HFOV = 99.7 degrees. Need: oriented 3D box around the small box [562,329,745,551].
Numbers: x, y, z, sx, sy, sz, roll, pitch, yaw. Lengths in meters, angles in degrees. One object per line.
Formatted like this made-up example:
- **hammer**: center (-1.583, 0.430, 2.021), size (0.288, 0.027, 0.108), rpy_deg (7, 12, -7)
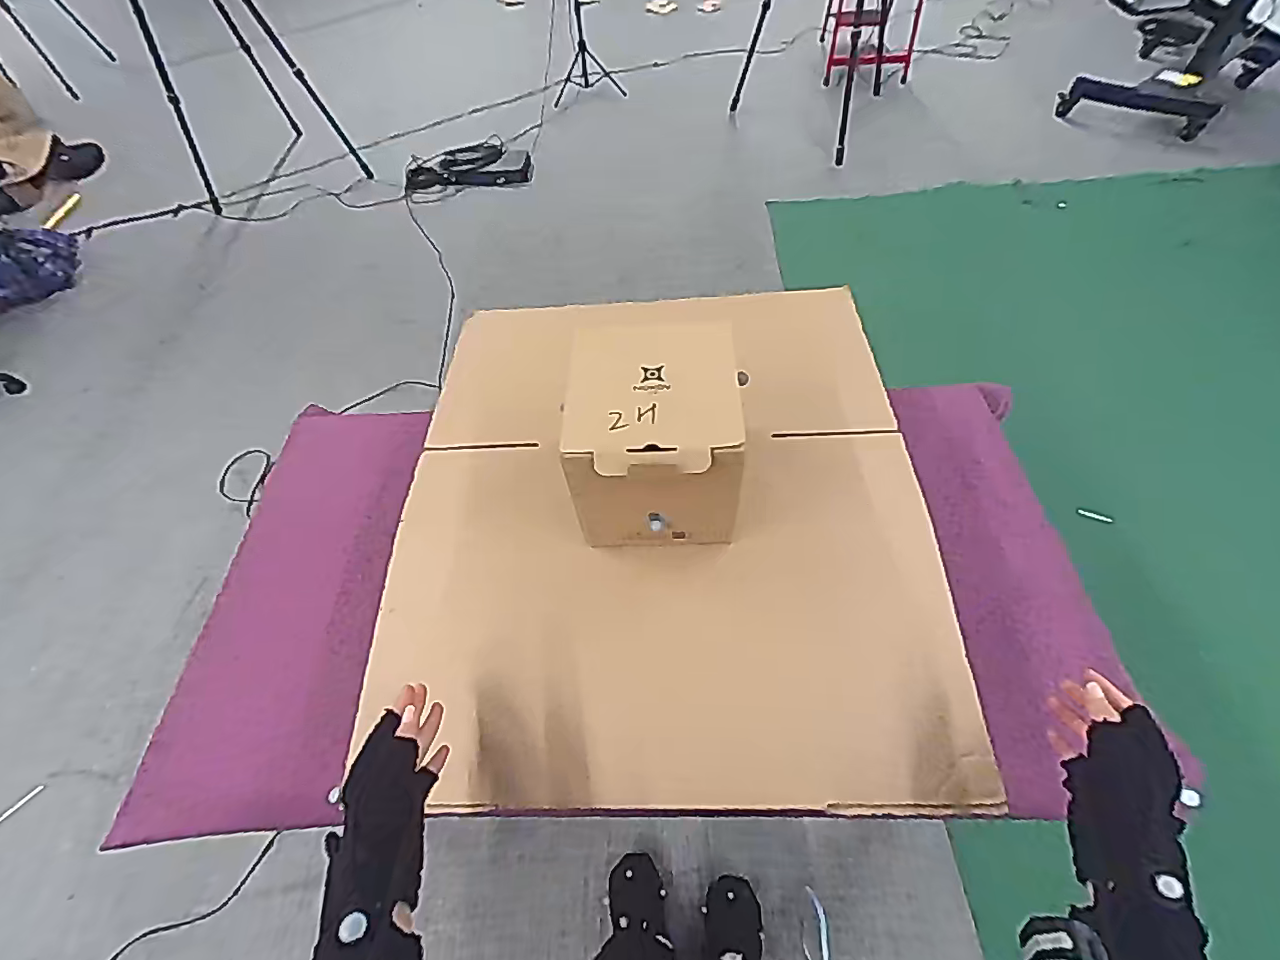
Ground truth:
- **small box**: center (0.019, -0.039, 0.587), size (0.168, 0.176, 0.179), rpy_deg (-2, 55, 5)
